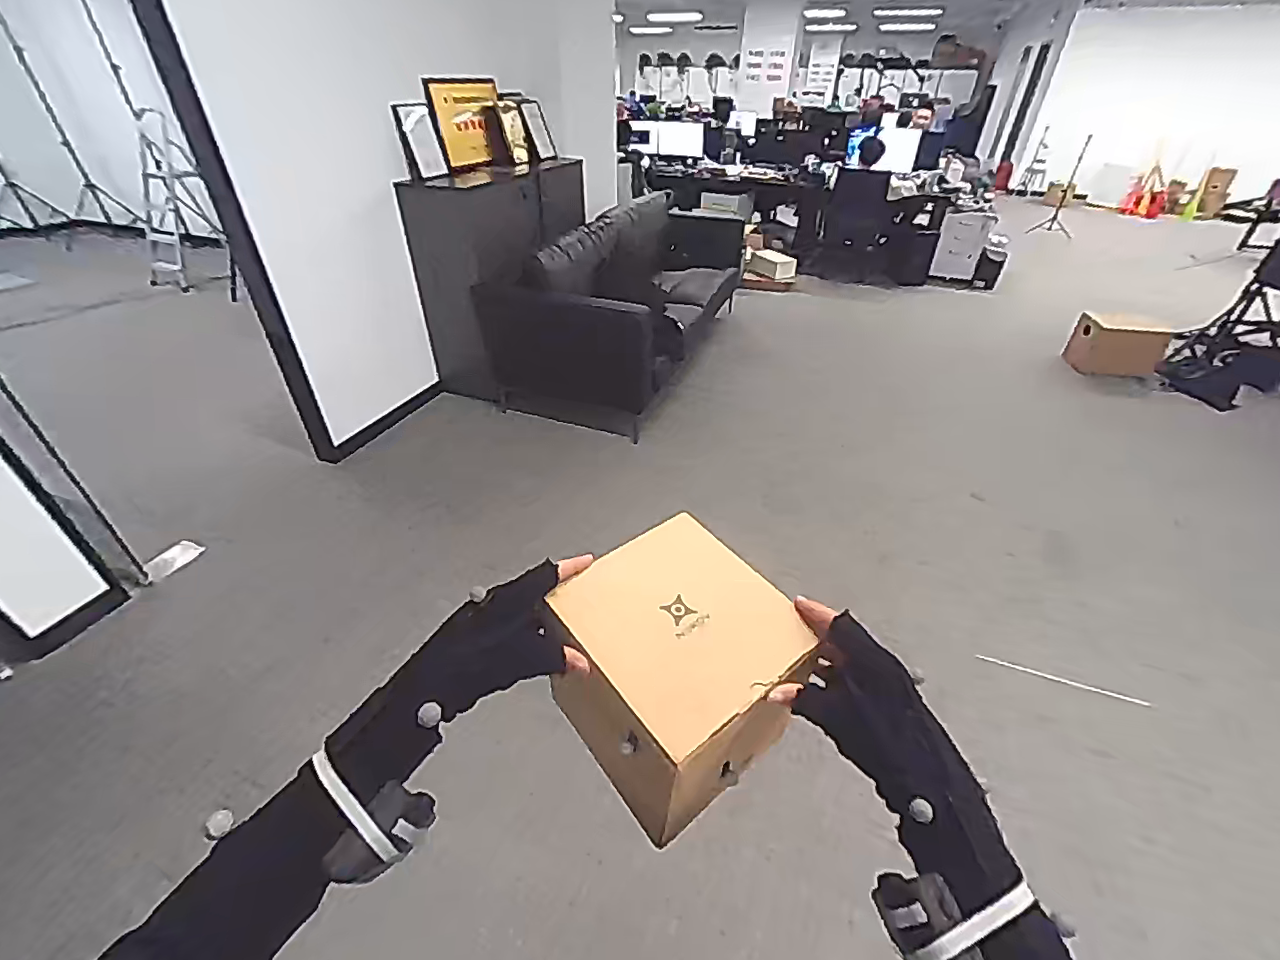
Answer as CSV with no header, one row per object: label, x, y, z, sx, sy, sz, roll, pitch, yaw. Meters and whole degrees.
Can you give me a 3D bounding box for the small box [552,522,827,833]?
small box,0.032,0.177,0.501,0.168,0.176,0.179,-25,49,-30
